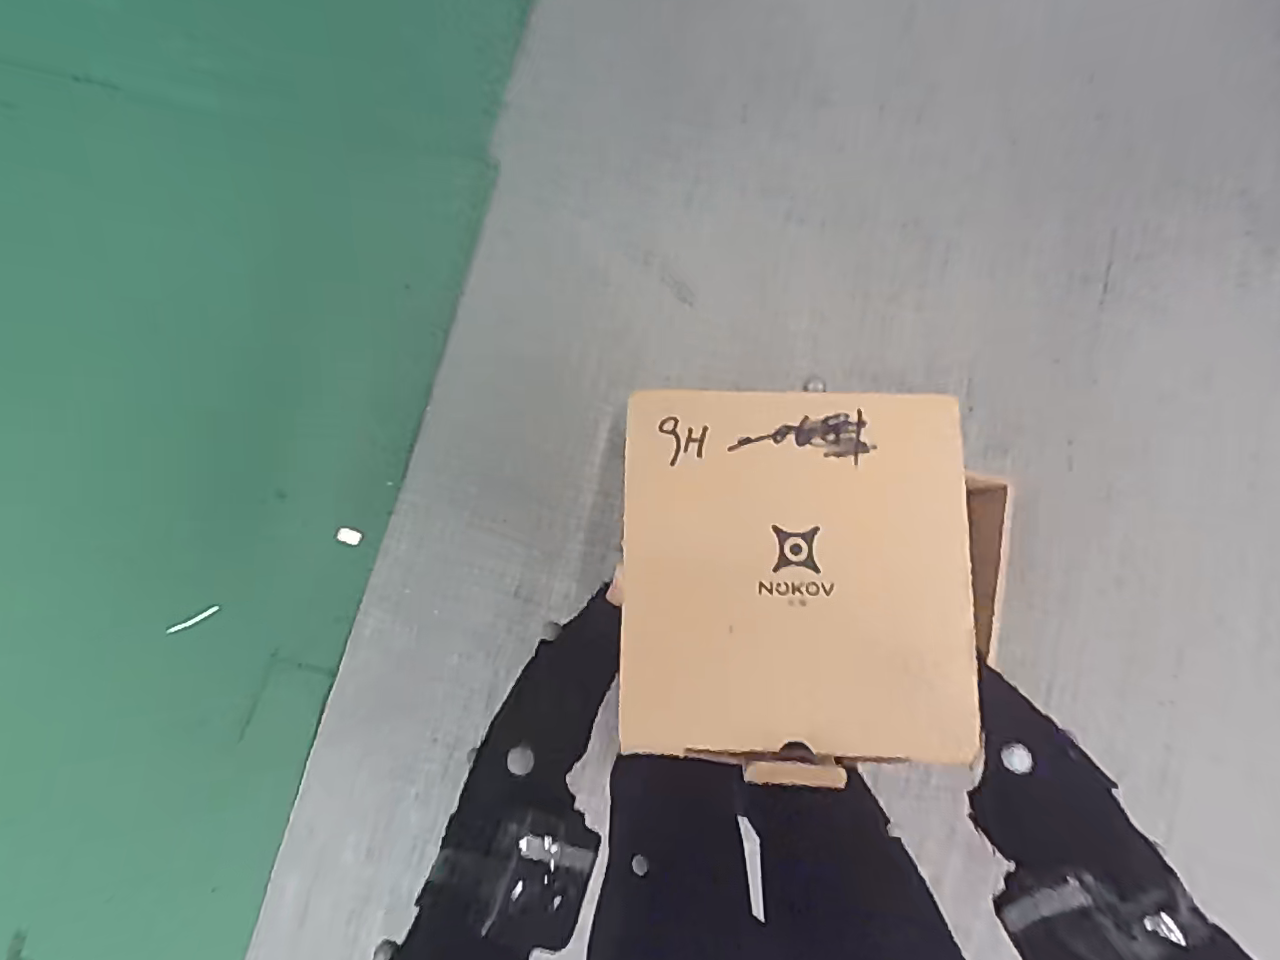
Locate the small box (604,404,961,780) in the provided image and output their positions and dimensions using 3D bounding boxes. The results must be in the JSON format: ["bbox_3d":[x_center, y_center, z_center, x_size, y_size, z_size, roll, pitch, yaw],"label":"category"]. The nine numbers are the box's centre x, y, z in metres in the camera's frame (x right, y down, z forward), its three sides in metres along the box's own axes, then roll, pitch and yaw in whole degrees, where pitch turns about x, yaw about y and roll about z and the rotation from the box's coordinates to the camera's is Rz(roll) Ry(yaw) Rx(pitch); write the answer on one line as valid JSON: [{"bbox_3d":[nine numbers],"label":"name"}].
[{"bbox_3d":[0.071,0.058,0.338,0.168,0.176,0.179,1,83,2],"label":"small box"}]
